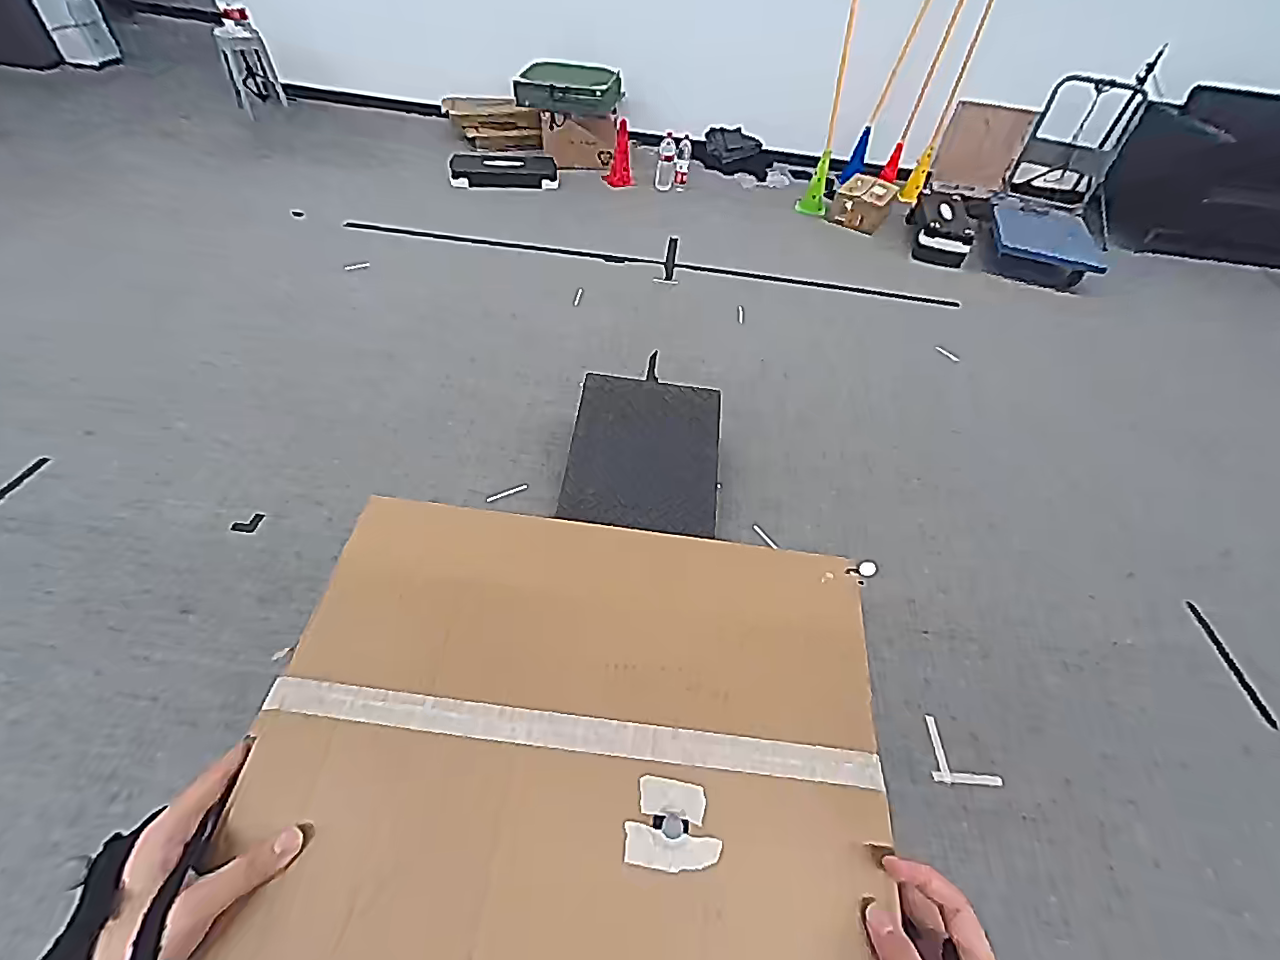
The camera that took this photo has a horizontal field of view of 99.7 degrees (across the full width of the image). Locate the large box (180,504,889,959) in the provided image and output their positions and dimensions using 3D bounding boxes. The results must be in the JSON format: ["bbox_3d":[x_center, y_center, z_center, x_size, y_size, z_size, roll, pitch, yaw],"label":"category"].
[{"bbox_3d":[-0.051,0.250,0.495,0.408,0.320,0.320,8,57,1],"label":"large box"}]
